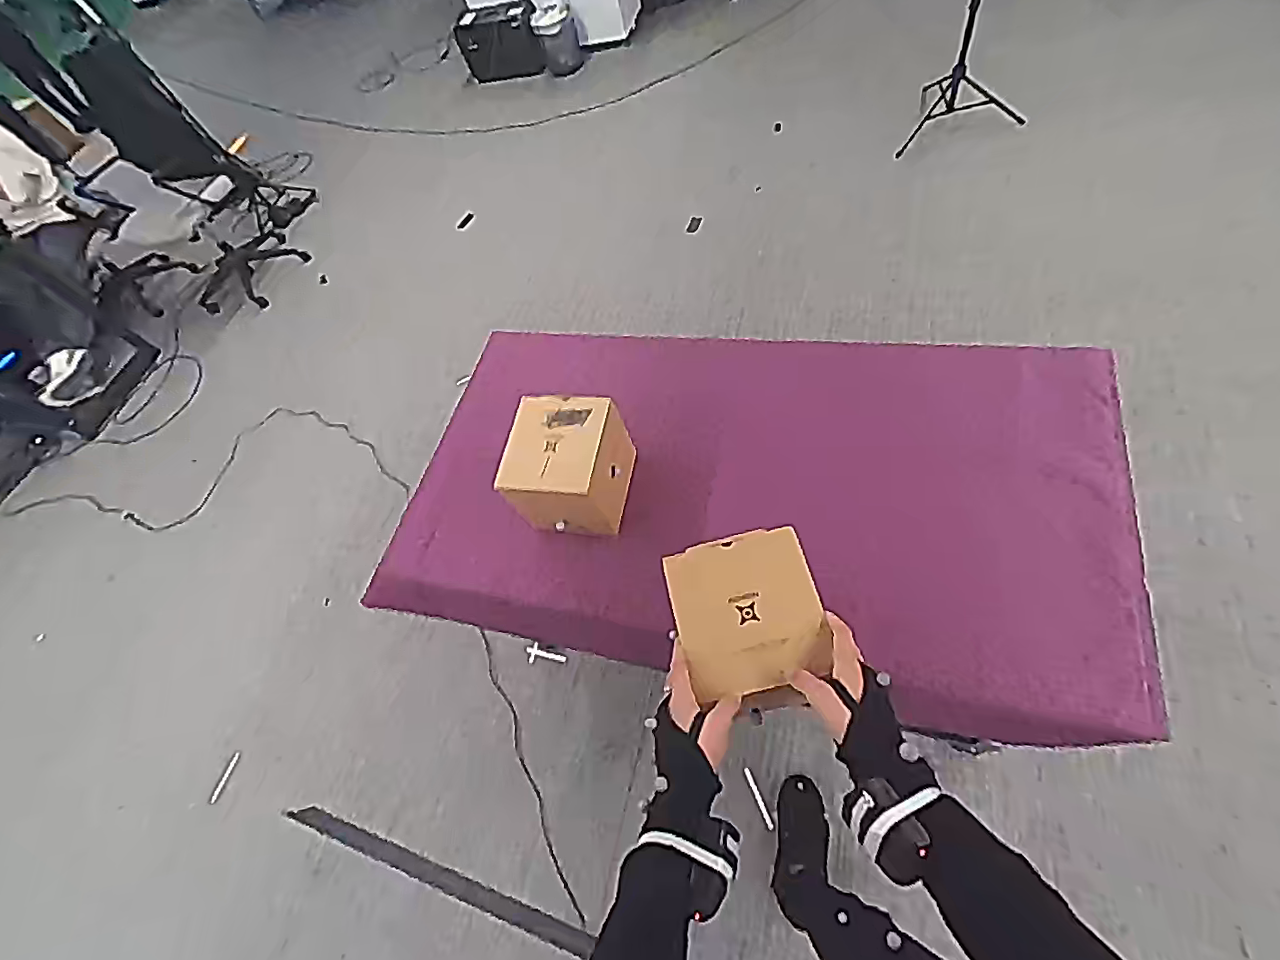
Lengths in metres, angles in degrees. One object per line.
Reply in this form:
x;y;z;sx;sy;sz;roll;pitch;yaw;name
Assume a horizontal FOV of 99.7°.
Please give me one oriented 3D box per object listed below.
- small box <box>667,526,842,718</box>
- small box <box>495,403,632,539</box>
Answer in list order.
0.138;0.186;0.692;0.168;0.176;0.179;-14;57;4;small box
-0.120;-0.014;0.940;0.168;0.176;0.179;3;63;17;small box
